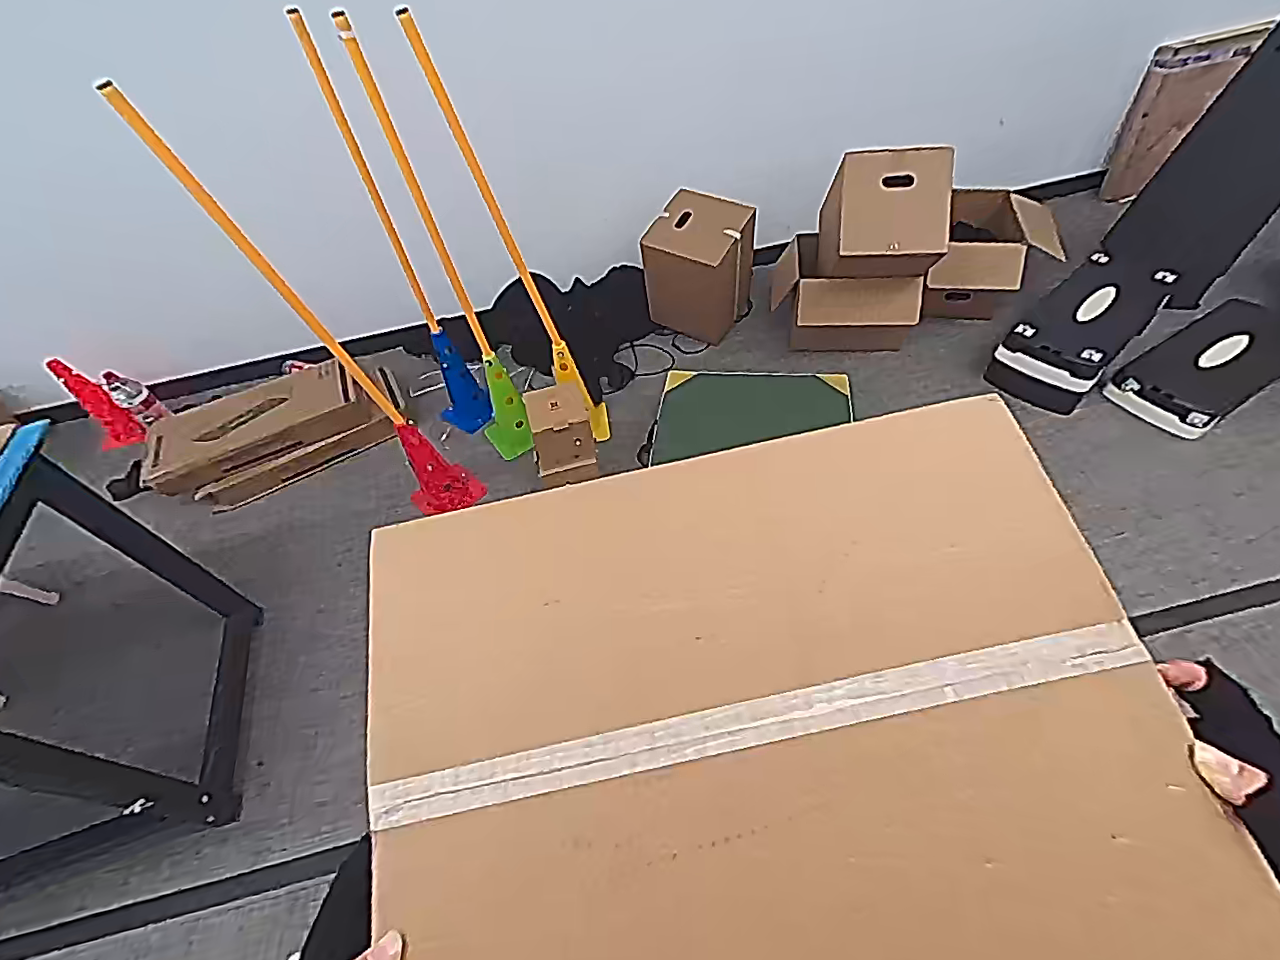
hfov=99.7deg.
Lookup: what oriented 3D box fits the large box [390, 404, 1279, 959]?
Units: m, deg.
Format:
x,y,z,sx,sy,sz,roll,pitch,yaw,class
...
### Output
x,y,z,sx,sy,sz,roll,pitch,yaw,class
0.073,0.190,0.427,0.408,0.320,0.320,-13,67,1,large box
